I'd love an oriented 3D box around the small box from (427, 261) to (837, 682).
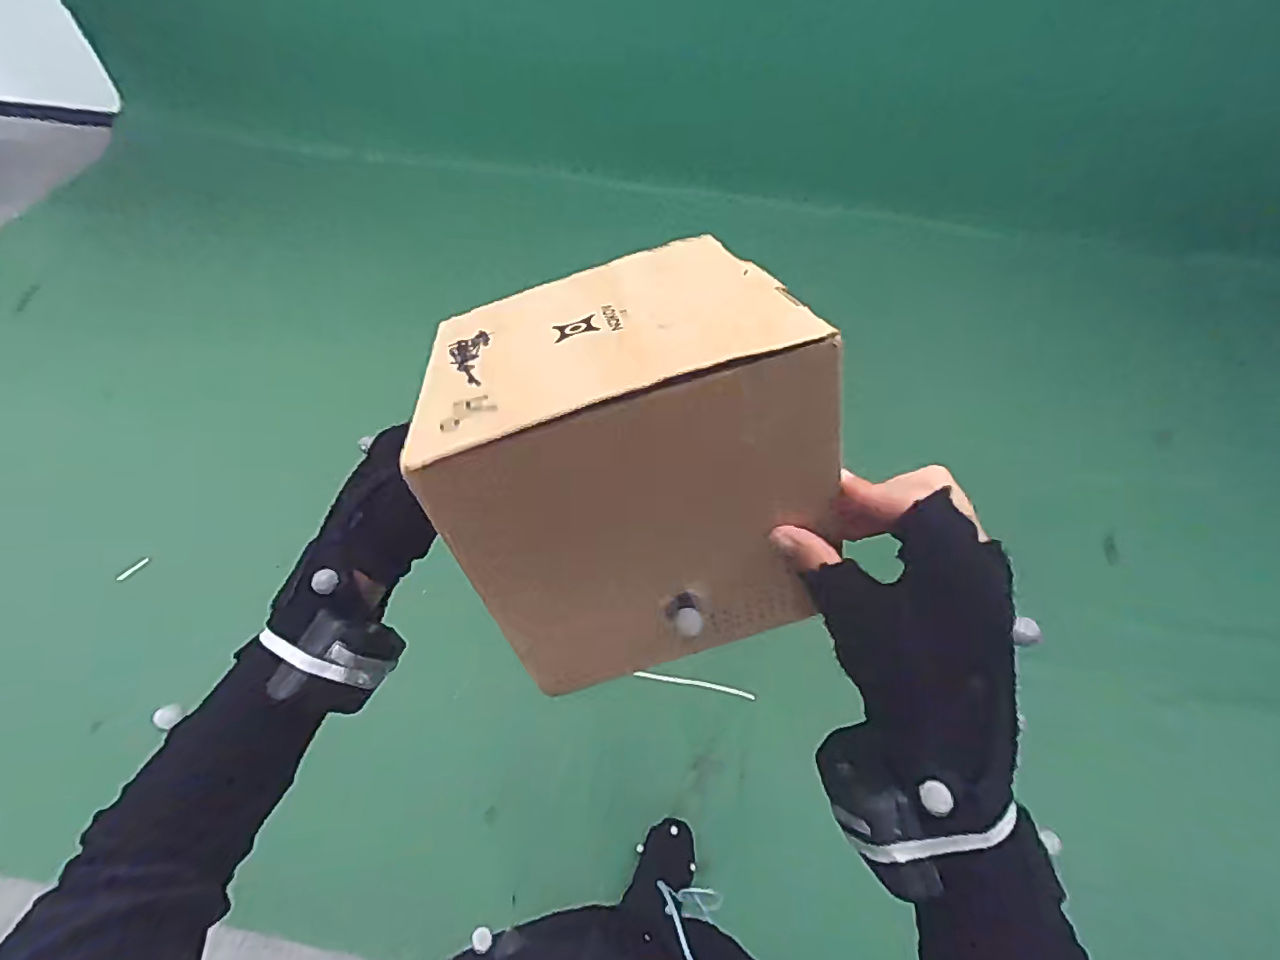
[{"bbox_3d":[0.000,-0.010,0.329,0.179,0.176,0.168,-16,34,-2],"label":"small box"}]
